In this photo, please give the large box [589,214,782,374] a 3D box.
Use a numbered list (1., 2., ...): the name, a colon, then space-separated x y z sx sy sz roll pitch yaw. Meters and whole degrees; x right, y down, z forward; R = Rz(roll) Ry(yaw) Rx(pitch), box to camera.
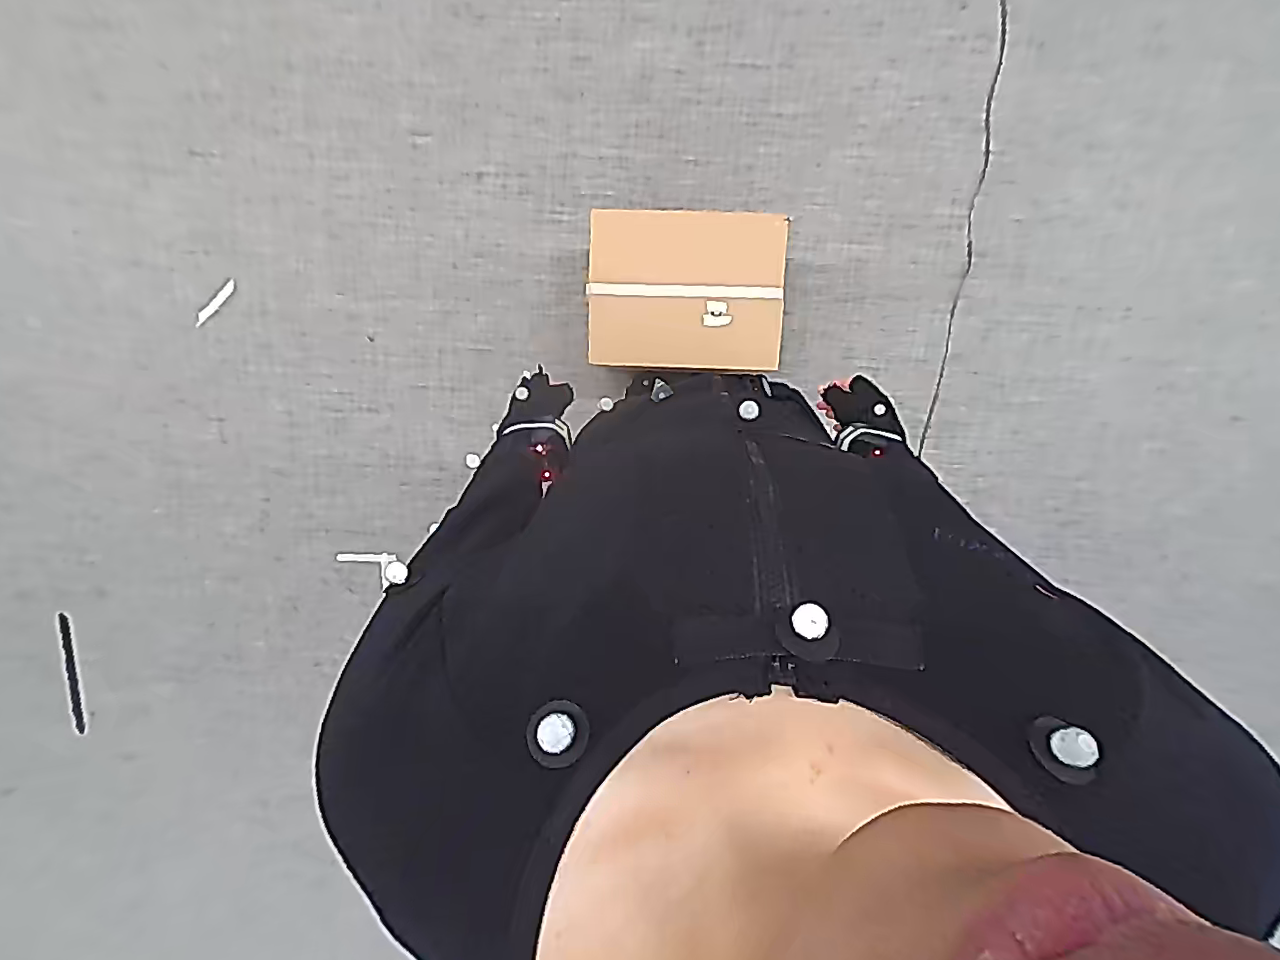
1. large box: 0.093 -0.416 1.280 0.408 0.320 0.320 1 100 1
